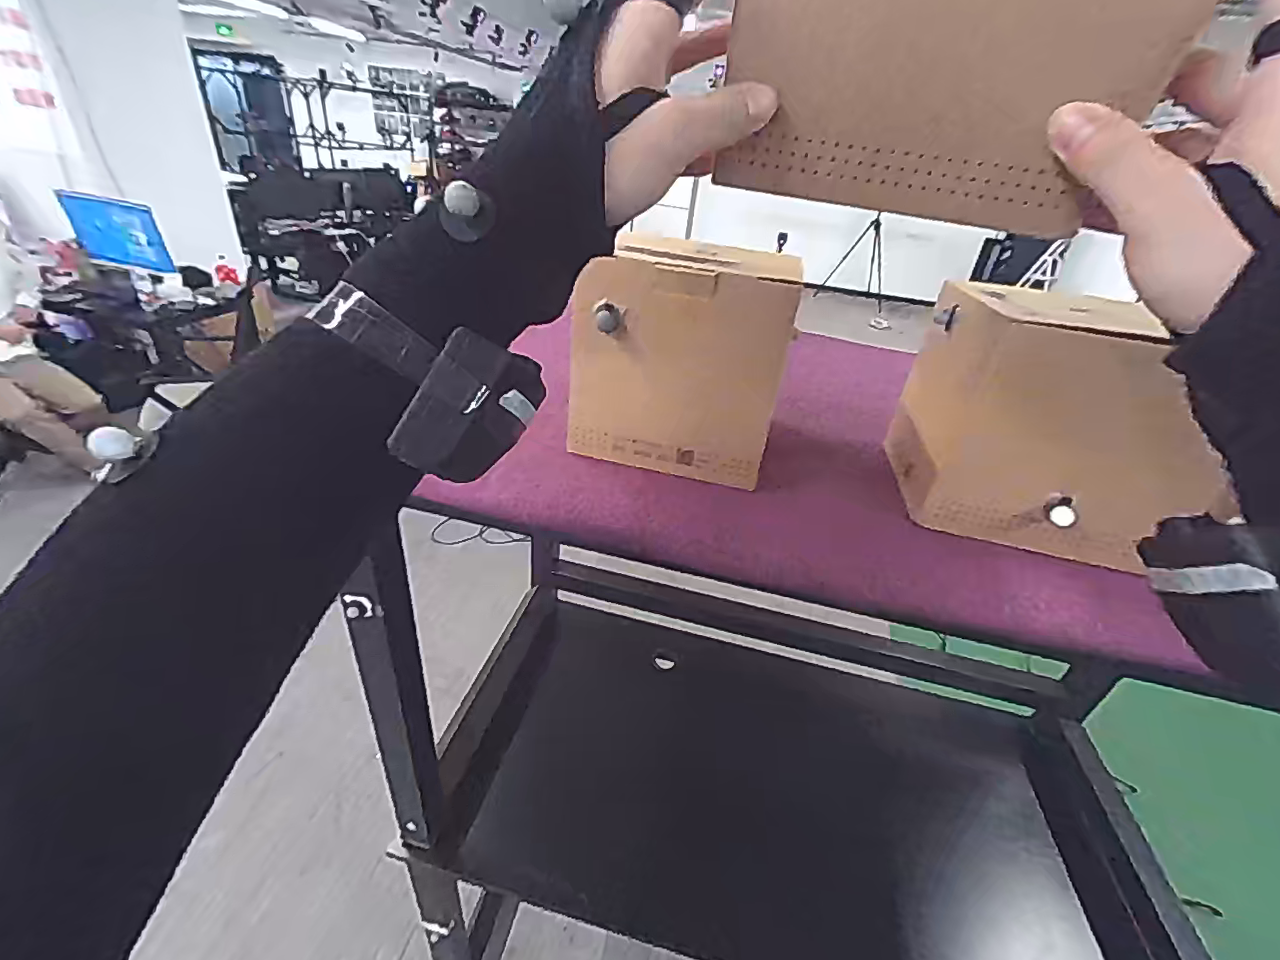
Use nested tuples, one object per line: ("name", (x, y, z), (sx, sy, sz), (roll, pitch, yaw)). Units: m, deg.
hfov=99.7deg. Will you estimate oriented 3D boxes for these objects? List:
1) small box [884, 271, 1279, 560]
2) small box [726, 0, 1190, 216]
("small box", (0.326, -0.057, 0.440), (0.179, 0.176, 0.168), (13, 30, 8))
("small box", (0.149, -0.249, 0.265), (0.179, 0.176, 0.168), (15, 47, 9))
